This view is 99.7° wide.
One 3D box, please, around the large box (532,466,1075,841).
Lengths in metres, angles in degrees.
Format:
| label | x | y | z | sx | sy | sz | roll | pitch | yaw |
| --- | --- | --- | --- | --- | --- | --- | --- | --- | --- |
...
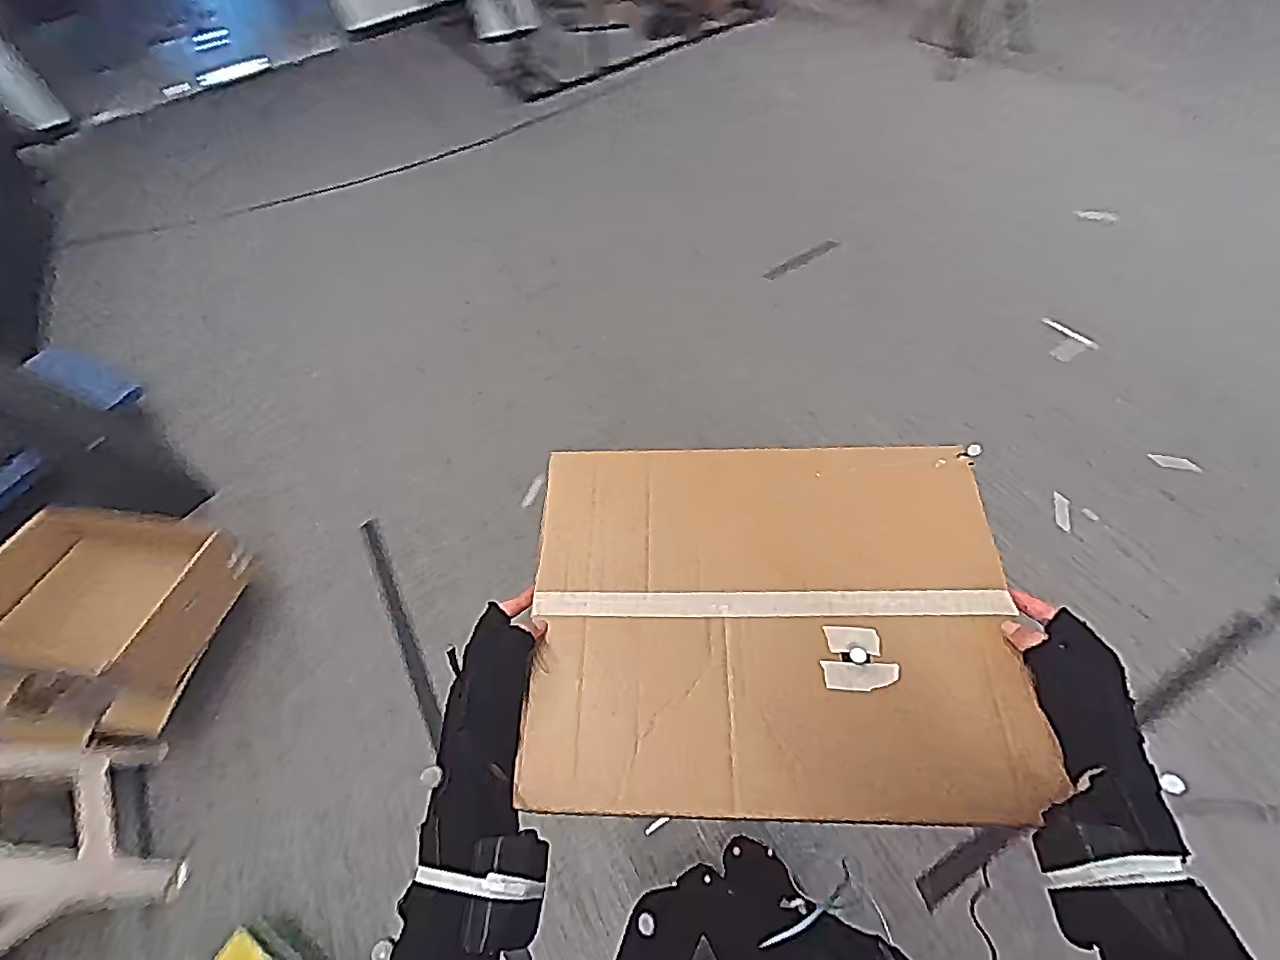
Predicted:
| label | x | y | z | sx | sy | sz | roll | pitch | yaw |
| --- | --- | --- | --- | --- | --- | --- | --- | --- | --- |
| large box | 0.127 | 0.192 | 0.597 | 0.408 | 0.320 | 0.320 | 1 | 62 | 5 |
